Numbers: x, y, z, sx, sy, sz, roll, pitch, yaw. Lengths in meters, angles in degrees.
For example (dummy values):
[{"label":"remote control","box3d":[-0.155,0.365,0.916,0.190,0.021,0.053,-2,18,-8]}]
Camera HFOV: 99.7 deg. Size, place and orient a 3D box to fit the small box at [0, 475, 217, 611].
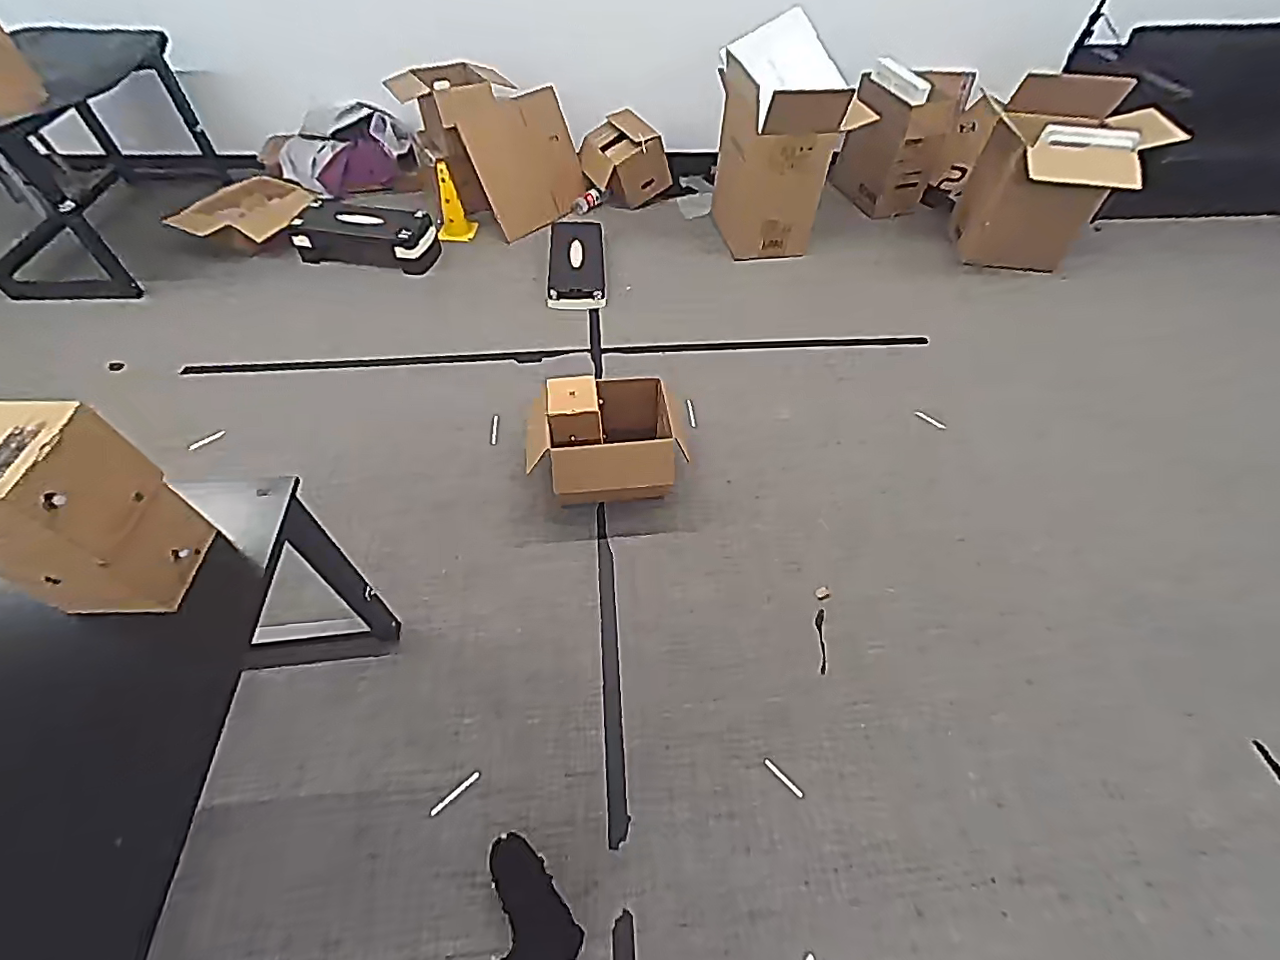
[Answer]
[{"label":"small box","box3d":[-0.858,0.107,0.883,0.179,0.176,0.168,0,54,-2]}]
